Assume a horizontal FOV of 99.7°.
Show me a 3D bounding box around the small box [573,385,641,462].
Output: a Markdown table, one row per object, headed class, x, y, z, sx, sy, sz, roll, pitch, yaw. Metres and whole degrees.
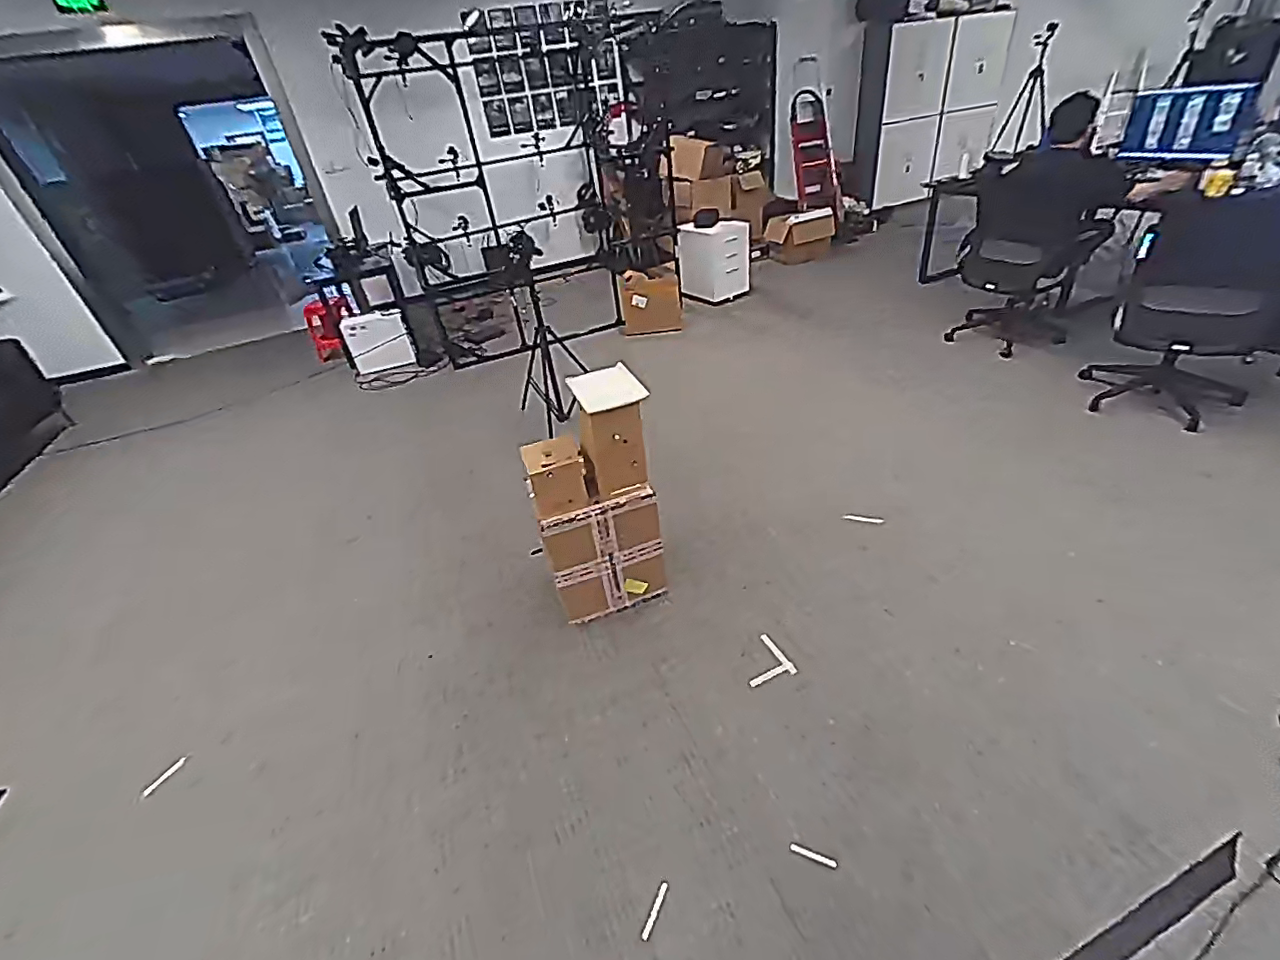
| class | x | y | z | sx | sy | sz | roll | pitch | yaw |
| --- | --- | --- | --- | --- | --- | --- | --- | --- | --- |
| small box | -0.105 | -0.180 | 1.718 | 0.168 | 0.176 | 0.179 | -16 | 37 | -14 |
